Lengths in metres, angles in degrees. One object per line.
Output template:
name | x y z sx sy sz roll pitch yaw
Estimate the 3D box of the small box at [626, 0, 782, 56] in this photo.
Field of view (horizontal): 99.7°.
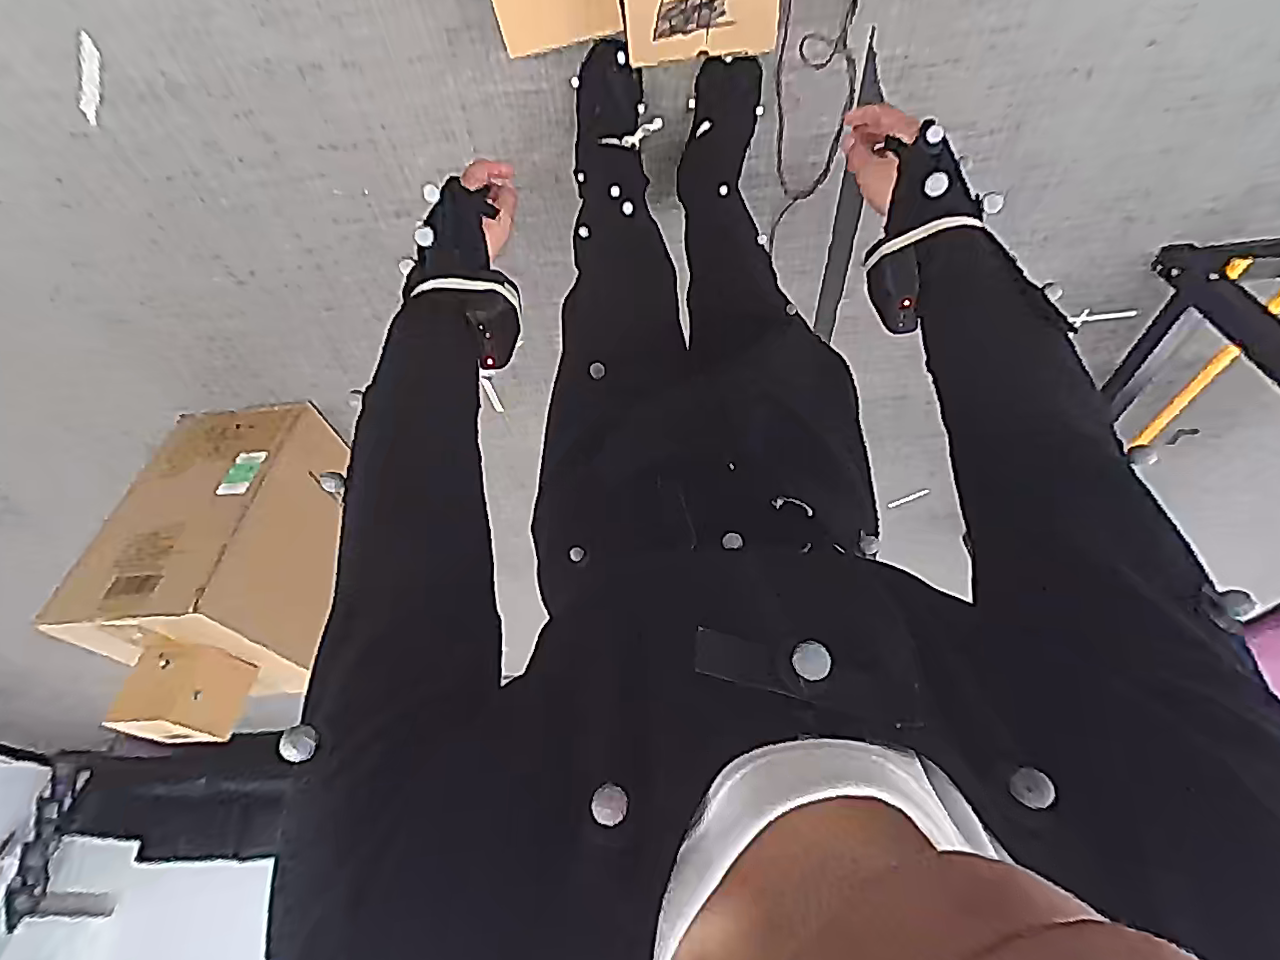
small box | 0.064 -0.592 0.577 0.168 0.176 0.179 -4 142 4
